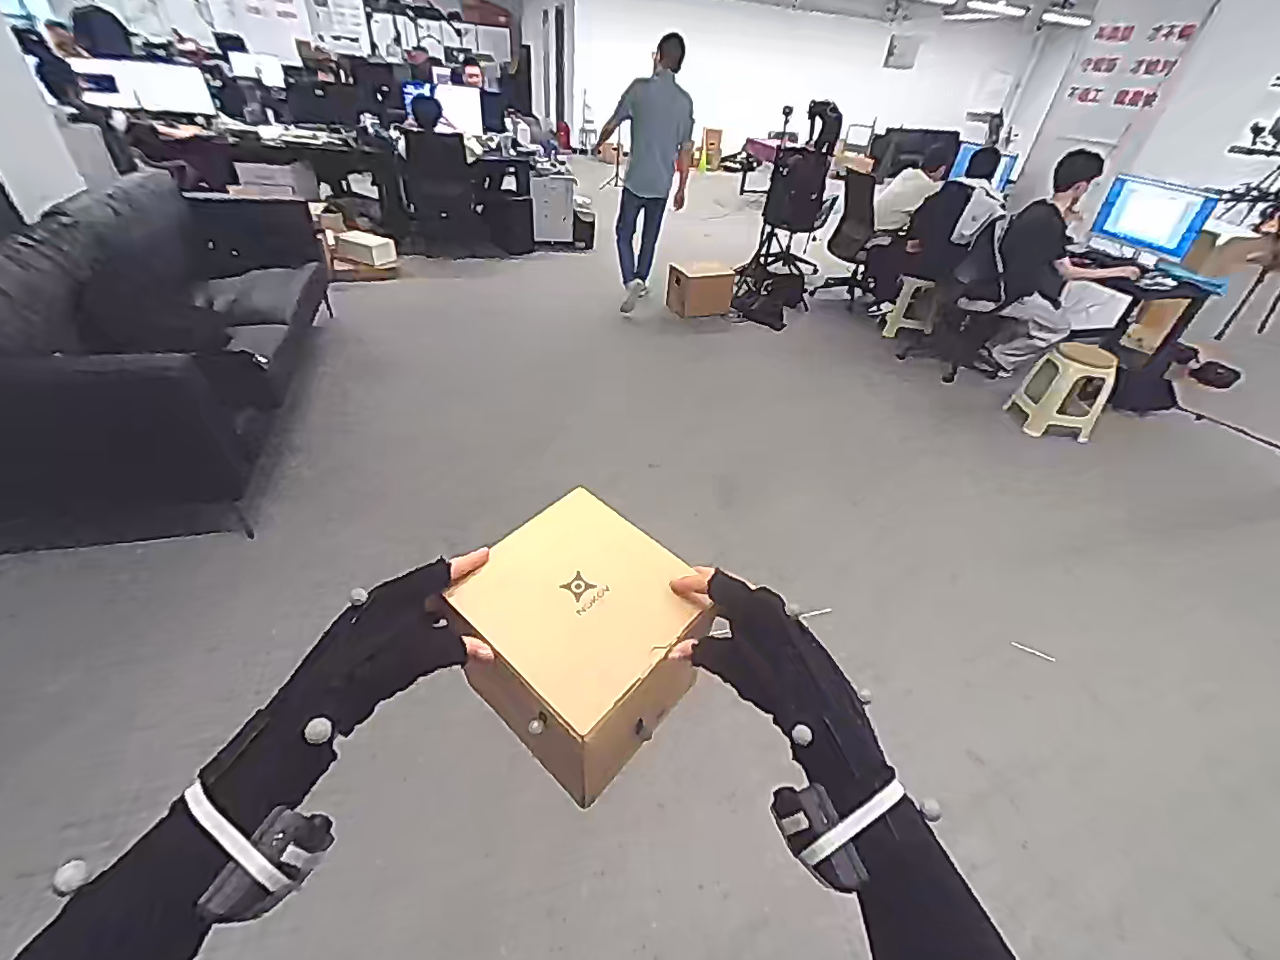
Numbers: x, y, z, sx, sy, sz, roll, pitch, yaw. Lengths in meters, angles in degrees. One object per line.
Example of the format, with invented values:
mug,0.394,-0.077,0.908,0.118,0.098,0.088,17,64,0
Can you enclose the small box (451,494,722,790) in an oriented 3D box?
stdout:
small box,-0.051,0.152,0.516,0.179,0.176,0.168,34,51,25
